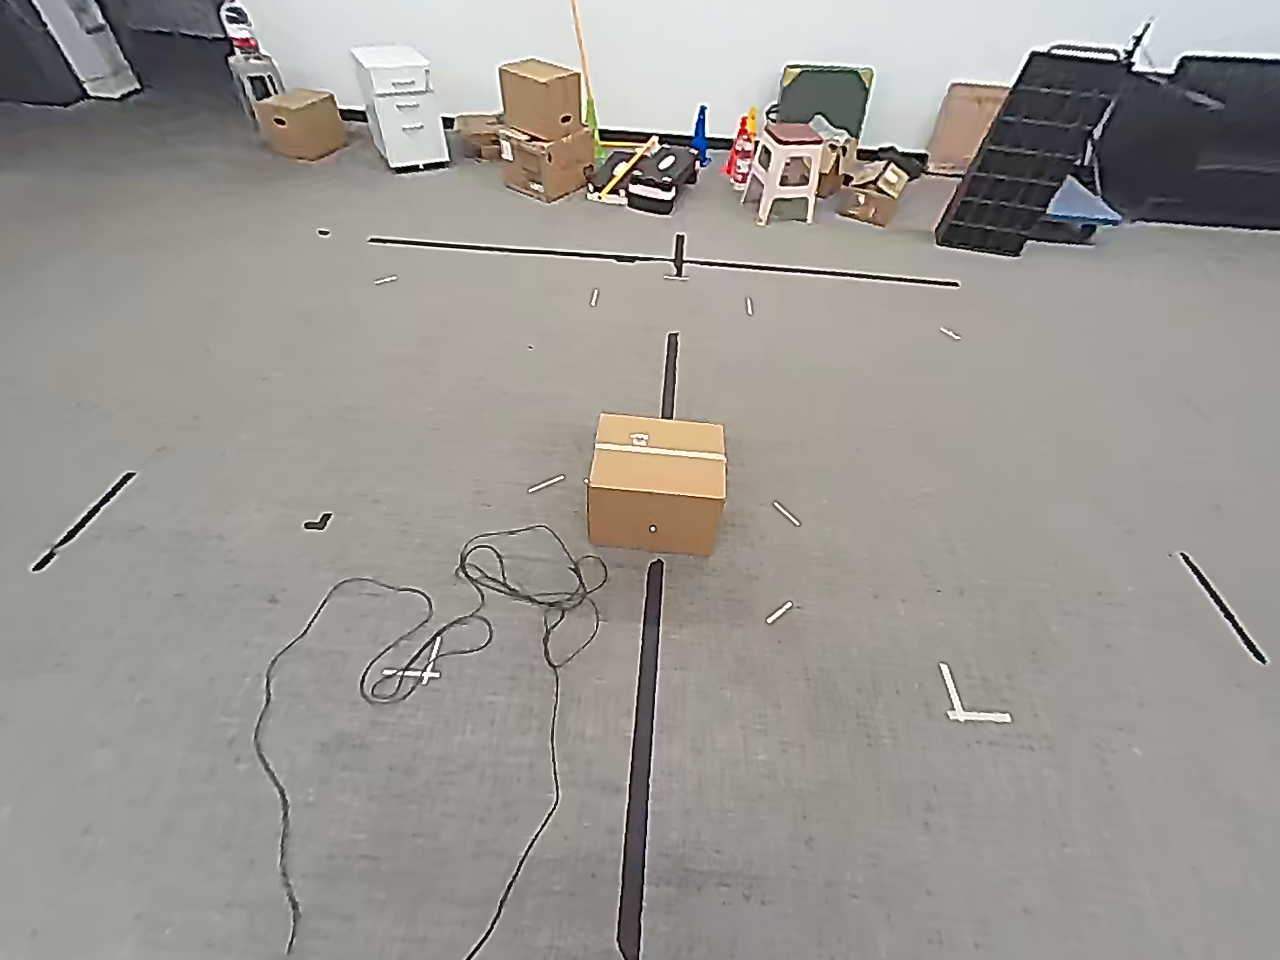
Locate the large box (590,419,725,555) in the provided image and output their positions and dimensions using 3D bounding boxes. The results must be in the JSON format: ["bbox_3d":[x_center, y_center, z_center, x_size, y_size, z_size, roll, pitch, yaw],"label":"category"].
[{"bbox_3d":[0.056,0.027,1.779,0.408,0.320,0.320,5,49,1],"label":"large box"}]
